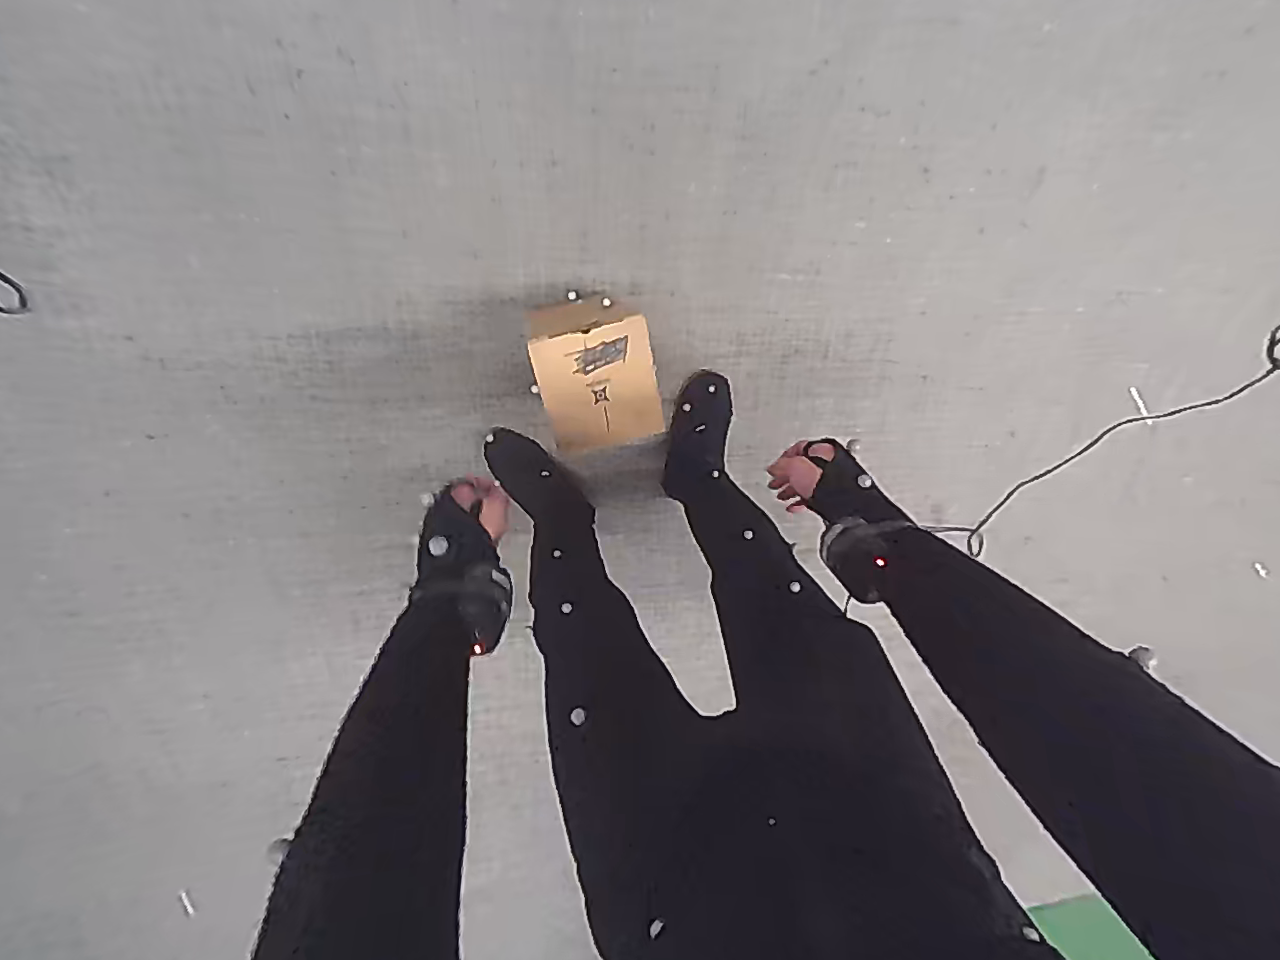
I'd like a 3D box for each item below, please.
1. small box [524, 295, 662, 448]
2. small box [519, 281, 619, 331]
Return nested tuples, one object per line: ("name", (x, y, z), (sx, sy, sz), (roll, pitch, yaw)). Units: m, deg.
("small box", (-0.076, -0.174, 0.824), (0.168, 0.176, 0.179), (-15, 118, -4))
("small box", (-0.109, -0.245, 0.969), (0.168, 0.176, 0.179), (-16, 115, -3))
